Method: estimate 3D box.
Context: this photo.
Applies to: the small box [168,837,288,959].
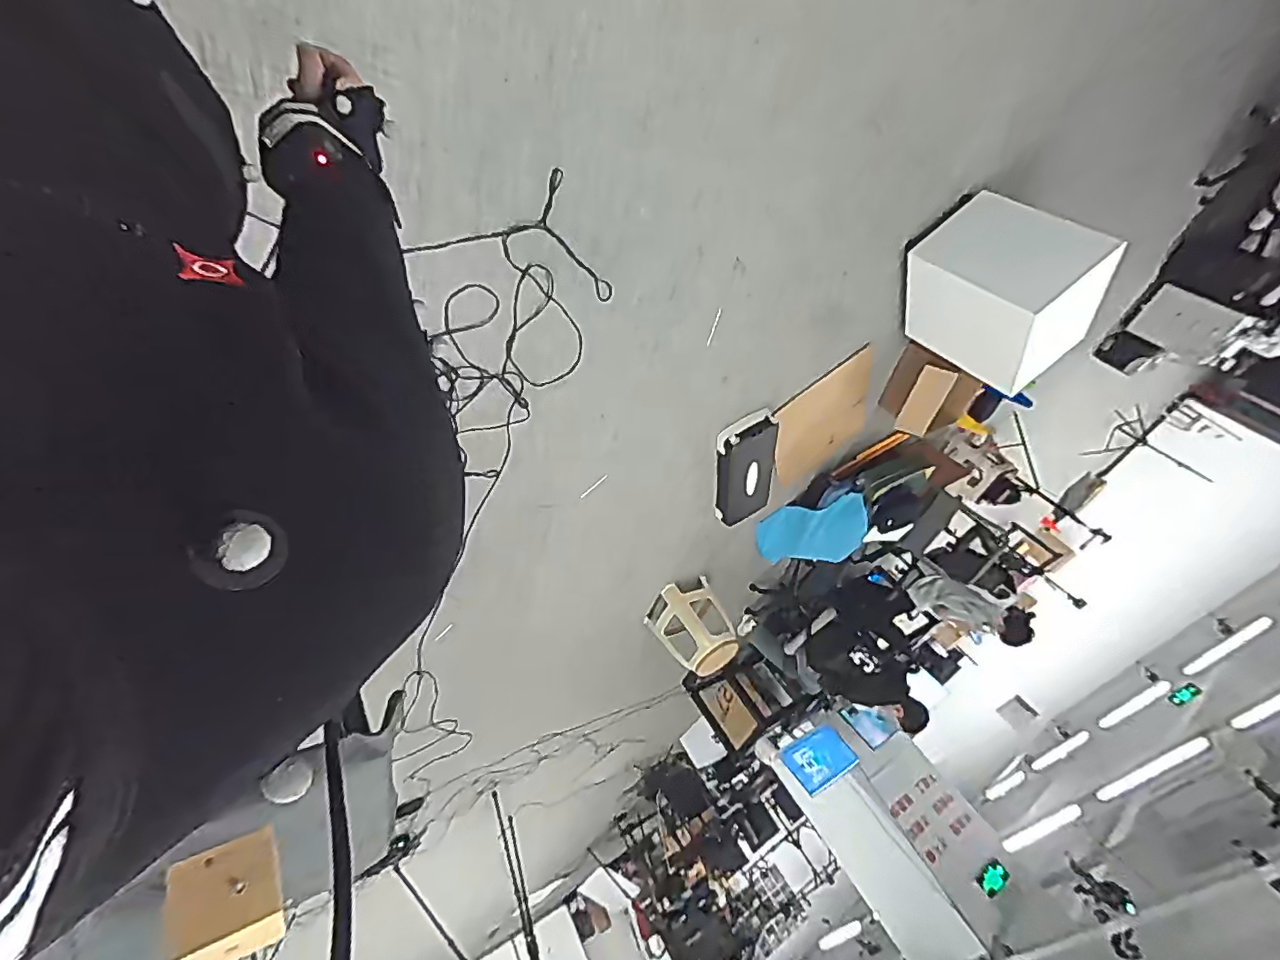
[{"bbox_3d":[-0.799,0.838,1.053,0.168,0.176,0.179,-8,136,-37],"label":"small box"}]
